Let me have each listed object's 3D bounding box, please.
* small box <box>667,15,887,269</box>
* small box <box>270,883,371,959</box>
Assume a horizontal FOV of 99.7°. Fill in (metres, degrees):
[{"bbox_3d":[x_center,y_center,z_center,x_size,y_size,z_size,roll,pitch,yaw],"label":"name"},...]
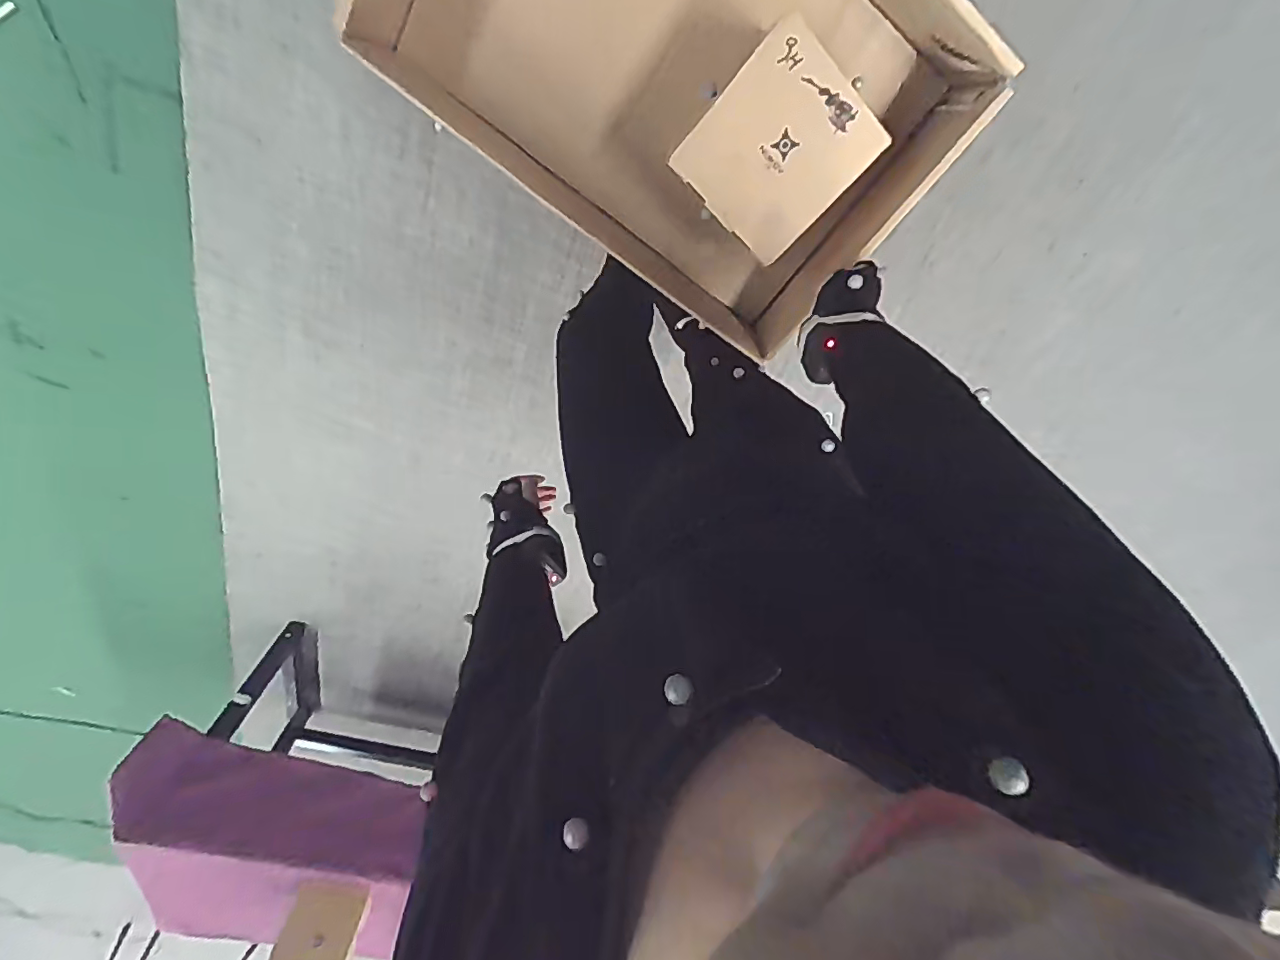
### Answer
[{"bbox_3d":[0.152,-0.392,0.647,0.168,0.176,0.179,37,118,-20],"label":"small box"},{"bbox_3d":[-0.812,1.169,1.386,0.179,0.176,0.168,17,121,-9],"label":"small box"}]
